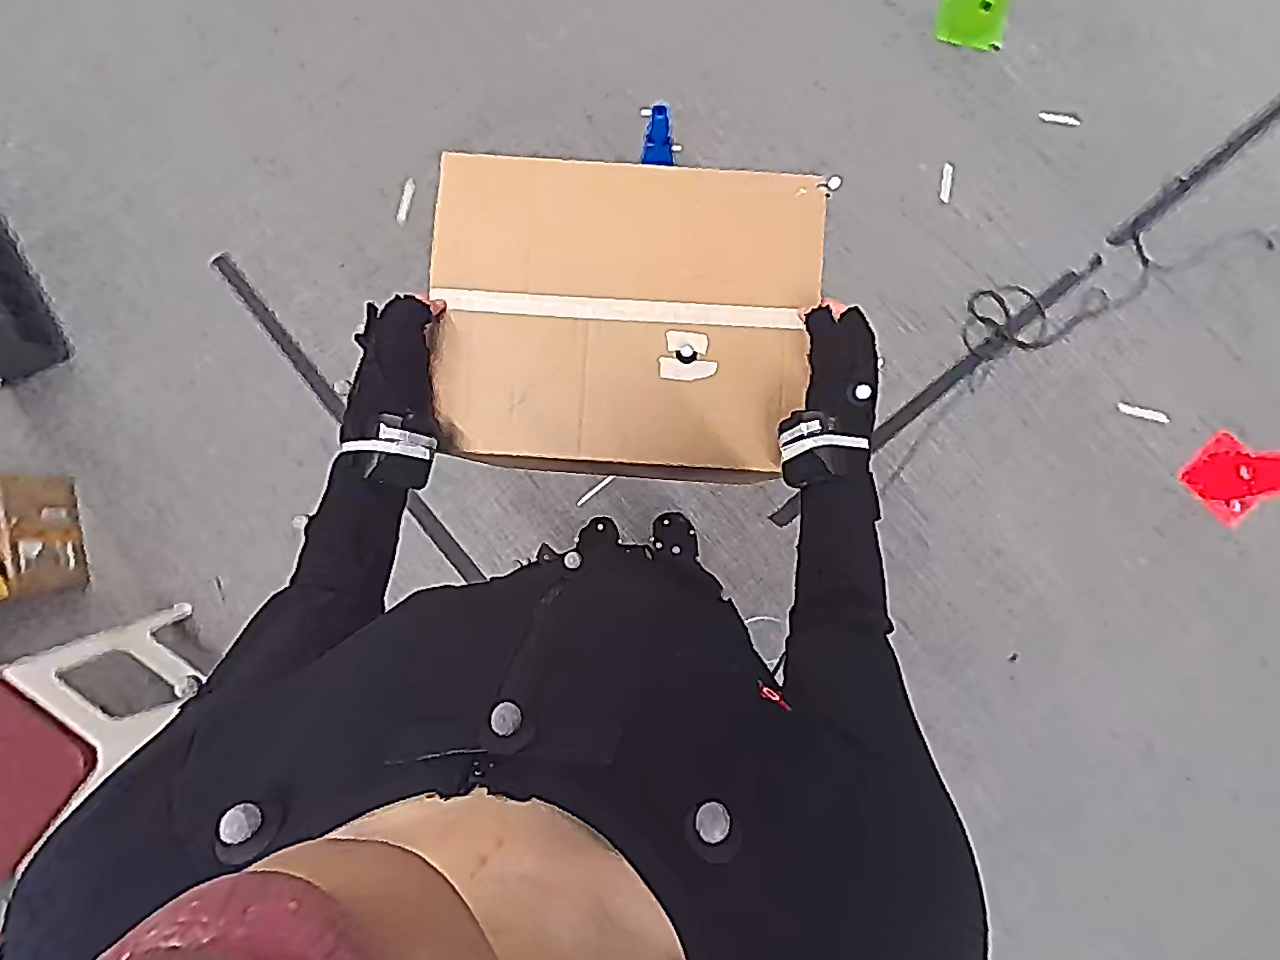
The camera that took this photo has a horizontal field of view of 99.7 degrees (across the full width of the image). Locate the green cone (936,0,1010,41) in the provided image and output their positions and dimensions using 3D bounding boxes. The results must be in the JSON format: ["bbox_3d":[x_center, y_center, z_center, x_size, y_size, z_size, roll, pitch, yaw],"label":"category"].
[{"bbox_3d":[0.993,-1.433,1.446,0.202,0.368,0.200,12,84,3],"label":"green cone"}]

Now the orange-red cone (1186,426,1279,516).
[{"bbox_3d":[1.635,-0.042,1.323,0.199,0.360,0.198,-42,87,-5],"label":"orange-red cone"}]

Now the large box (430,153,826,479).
[{"bbox_3d":[-0.013,-0.173,0.712,0.408,0.320,0.320,5,88,0],"label":"large box"}]
